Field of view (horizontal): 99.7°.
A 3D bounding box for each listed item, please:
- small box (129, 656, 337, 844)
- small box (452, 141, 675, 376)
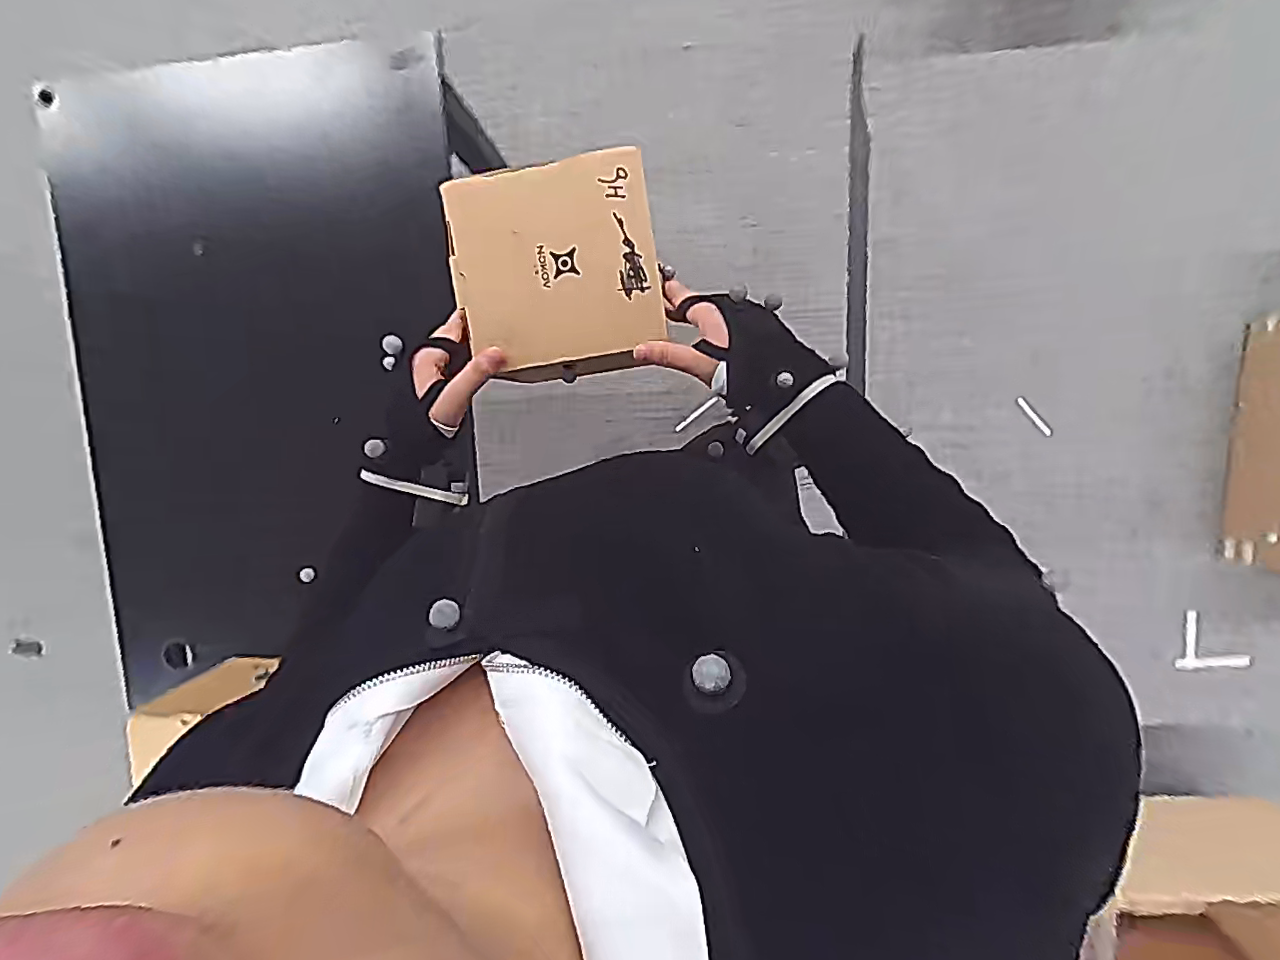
[{"bbox_3d":[-0.558,0.370,0.765,0.168,0.176,0.179,-1,95,5],"label":"small box"},{"bbox_3d":[-0.061,-0.202,0.545,0.179,0.176,0.168,-7,97,5],"label":"small box"}]
